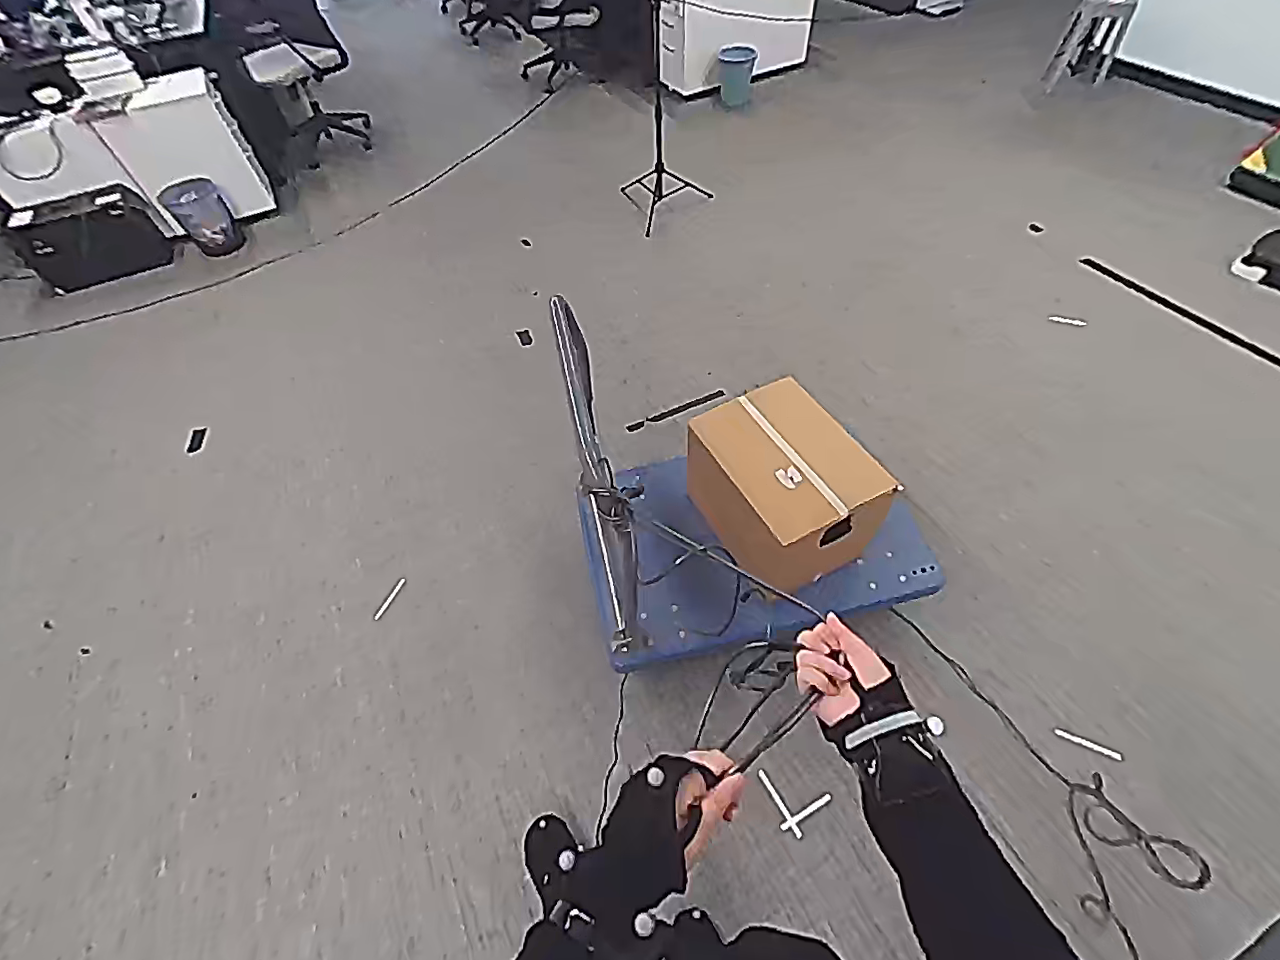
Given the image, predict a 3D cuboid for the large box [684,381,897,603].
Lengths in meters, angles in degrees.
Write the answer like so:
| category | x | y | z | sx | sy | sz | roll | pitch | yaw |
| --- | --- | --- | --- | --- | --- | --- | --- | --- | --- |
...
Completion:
| category | x | y | z | sx | sy | sz | roll | pitch | yaw |
| --- | --- | --- | --- | --- | --- | --- | --- | --- | --- |
| large box | 0.343 | 0.028 | 1.368 | 0.320 | 0.320 | 0.408 | -25 | 57 | -13 |
